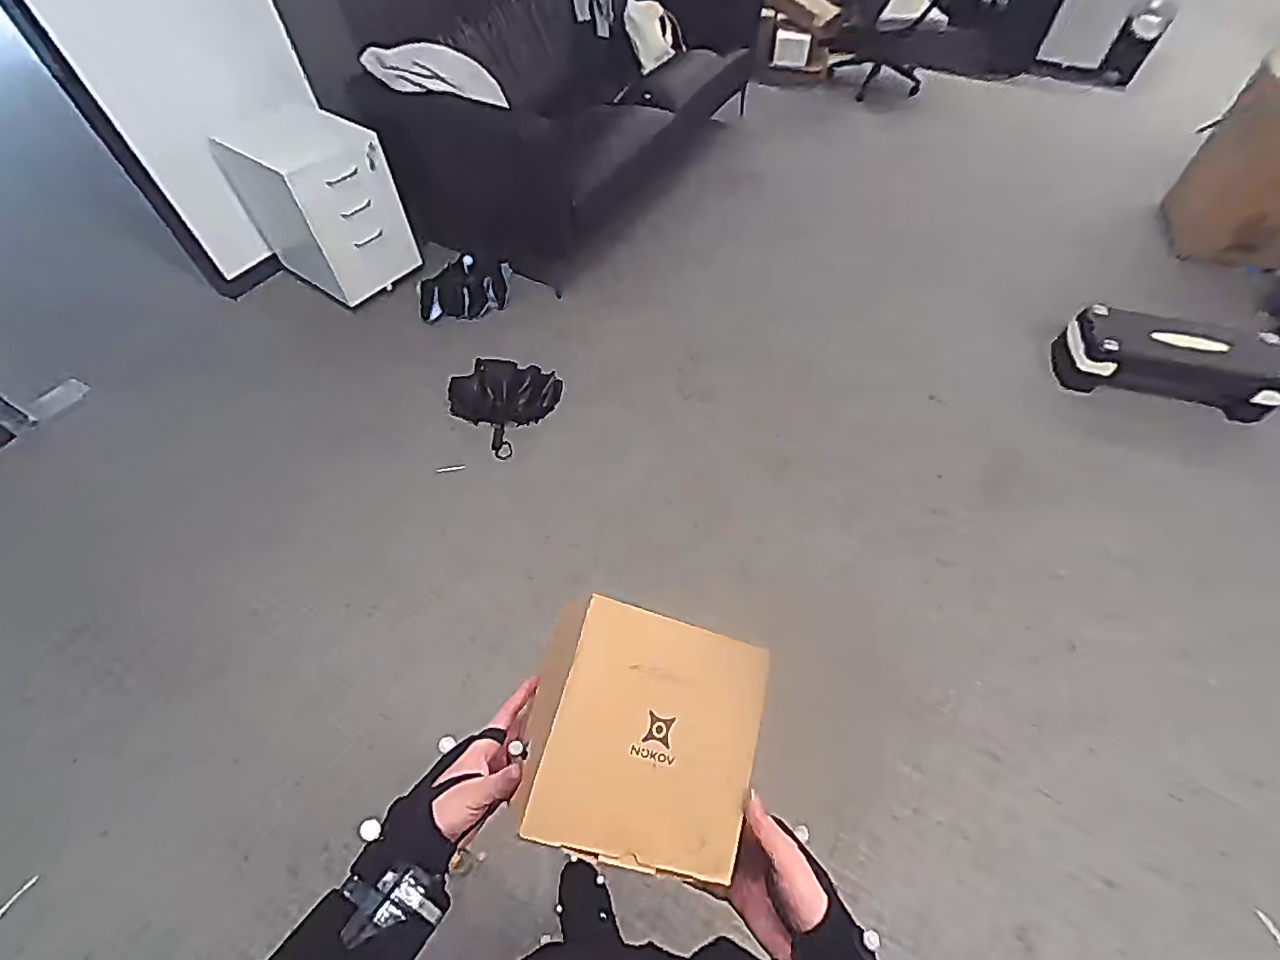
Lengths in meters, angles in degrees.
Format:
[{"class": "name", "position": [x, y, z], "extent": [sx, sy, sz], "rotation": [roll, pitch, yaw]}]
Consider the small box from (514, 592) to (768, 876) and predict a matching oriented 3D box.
[{"class": "small box", "position": [-0.009, 0.217, 0.496], "extent": [0.168, 0.176, 0.179], "rotation": [21, 68, -12]}]
